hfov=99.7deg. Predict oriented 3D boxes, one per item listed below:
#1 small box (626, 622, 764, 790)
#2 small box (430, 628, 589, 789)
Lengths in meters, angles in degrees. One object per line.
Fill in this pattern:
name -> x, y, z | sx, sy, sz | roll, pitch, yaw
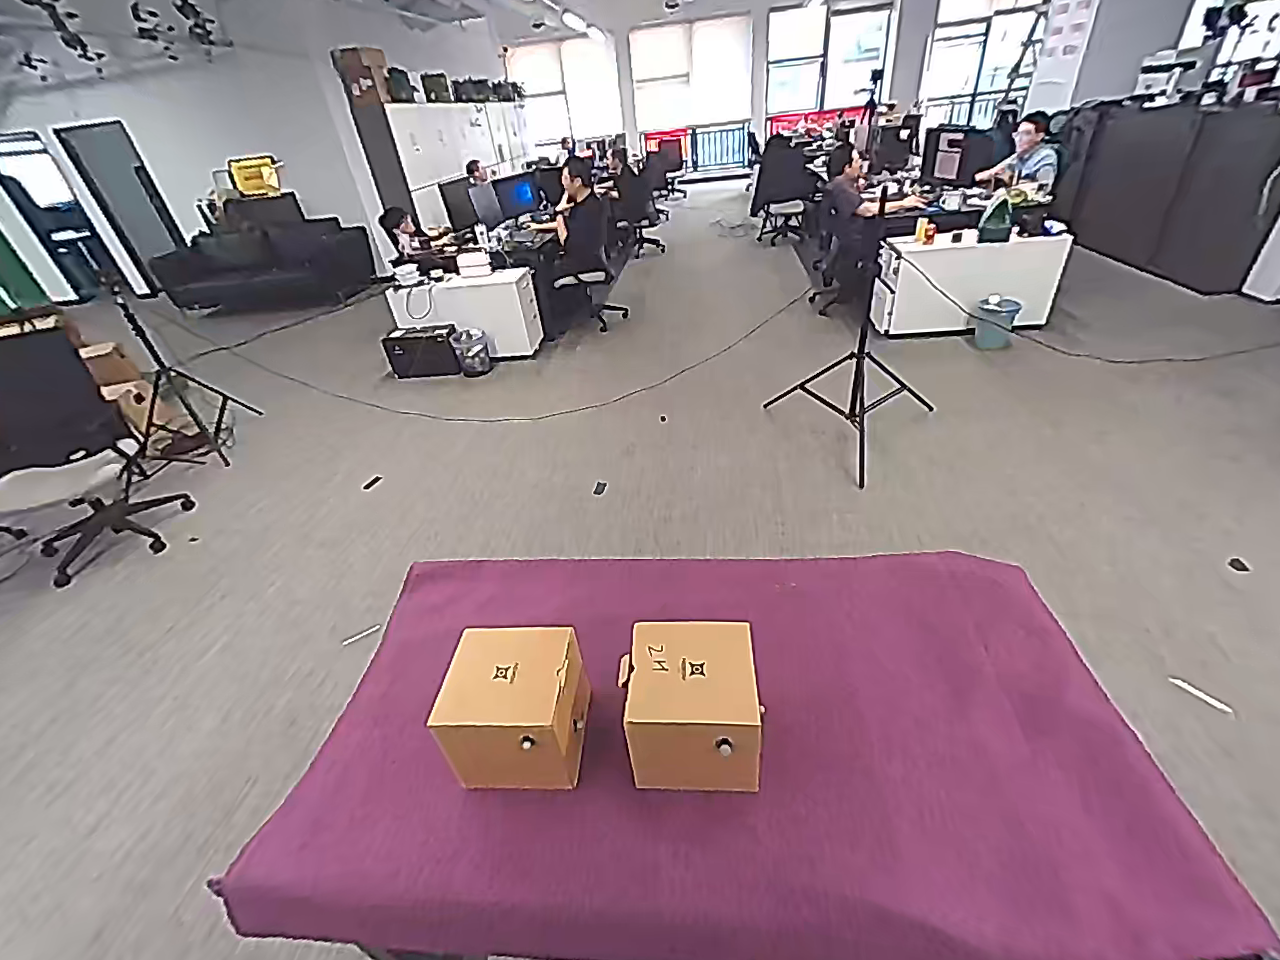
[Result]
small box -> 0.082, 0.328, 0.790 | 0.179, 0.176, 0.168 | -3, 34, 7
small box -> -0.183, 0.345, 0.819 | 0.179, 0.176, 0.168 | -3, 34, 5
